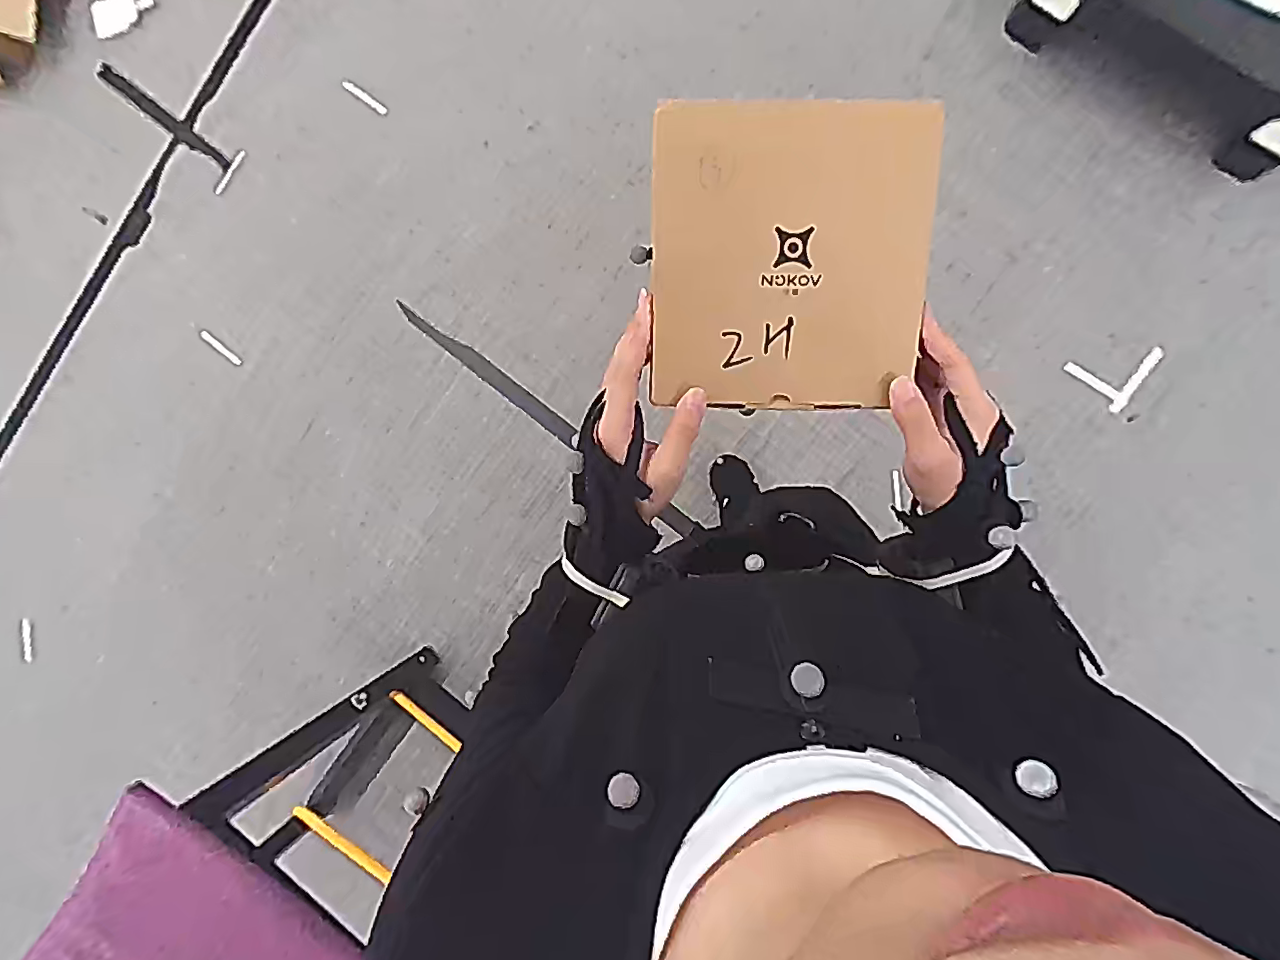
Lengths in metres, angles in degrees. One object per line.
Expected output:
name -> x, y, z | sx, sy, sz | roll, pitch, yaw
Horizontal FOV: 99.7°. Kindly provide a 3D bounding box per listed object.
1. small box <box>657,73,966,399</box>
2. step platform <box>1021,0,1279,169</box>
small box -> 0.099, -0.155, 0.396 | 0.168, 0.176, 0.179 | 2, 103, 1
step platform -> 1.201, -0.986, 1.128 | 0.684, 0.204, 0.286 | 37, 95, 6
